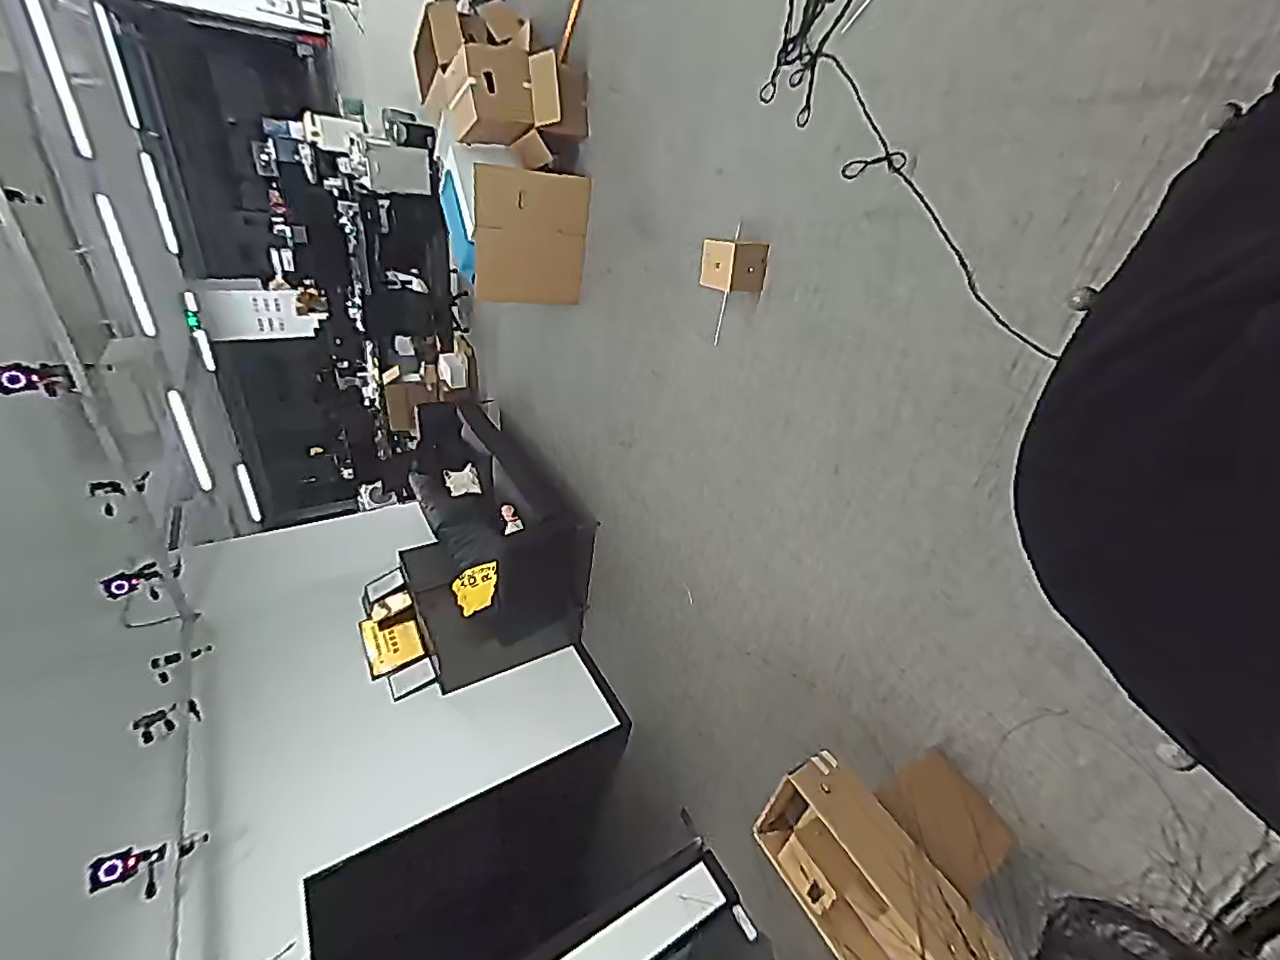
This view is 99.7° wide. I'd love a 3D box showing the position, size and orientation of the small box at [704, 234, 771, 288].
[{"bbox_3d":[0.363,-0.821,2.018,0.179,0.176,0.168,39,134,48],"label":"small box"}]
